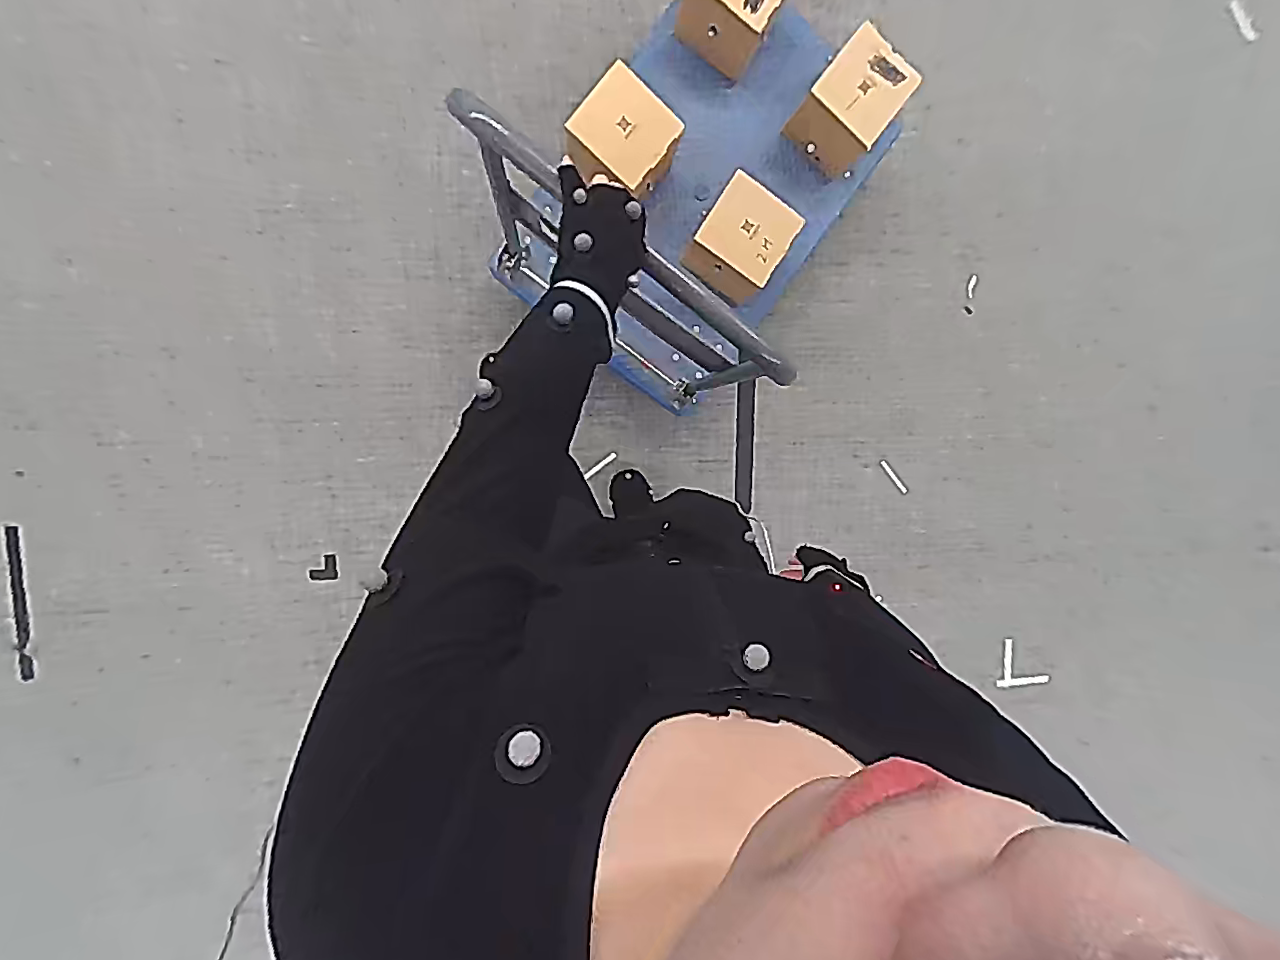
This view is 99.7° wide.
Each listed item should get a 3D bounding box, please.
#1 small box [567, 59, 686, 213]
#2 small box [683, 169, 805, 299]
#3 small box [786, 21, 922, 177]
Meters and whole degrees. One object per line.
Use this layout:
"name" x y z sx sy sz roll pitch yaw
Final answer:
"small box" -0.036 -0.692 1.115 0.179 0.176 0.168 39 91 -11
"small box" 0.213 -0.516 1.166 0.179 0.176 0.168 33 93 -9
"small box" 0.445 -0.799 1.155 0.168 0.176 0.179 38 93 -9
